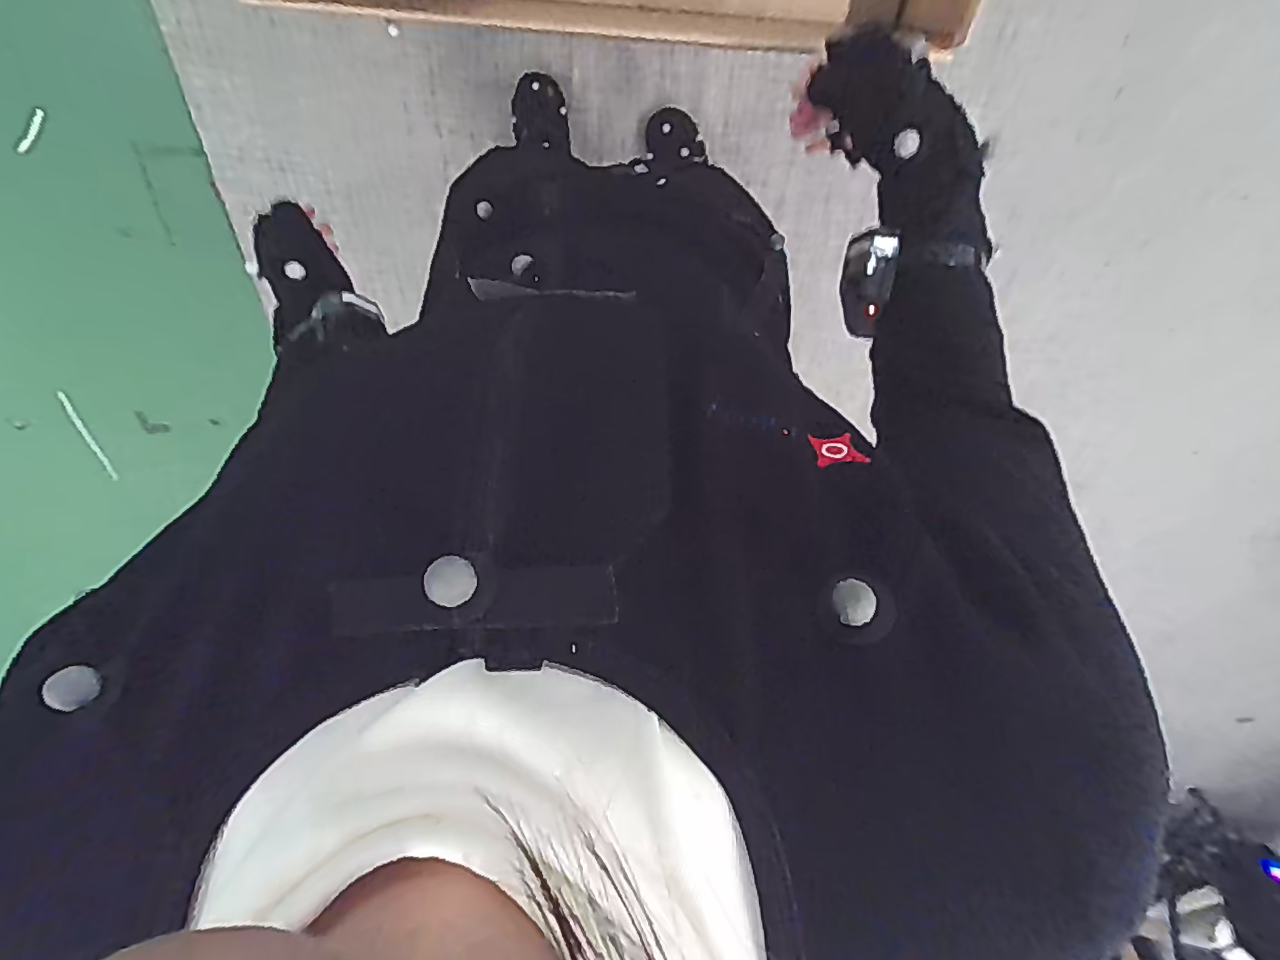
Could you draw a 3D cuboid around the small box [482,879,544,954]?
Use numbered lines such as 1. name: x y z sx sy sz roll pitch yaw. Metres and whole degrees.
1. small box: -0.427 1.492 1.846 0.168 0.176 0.179 -1 128 -1
